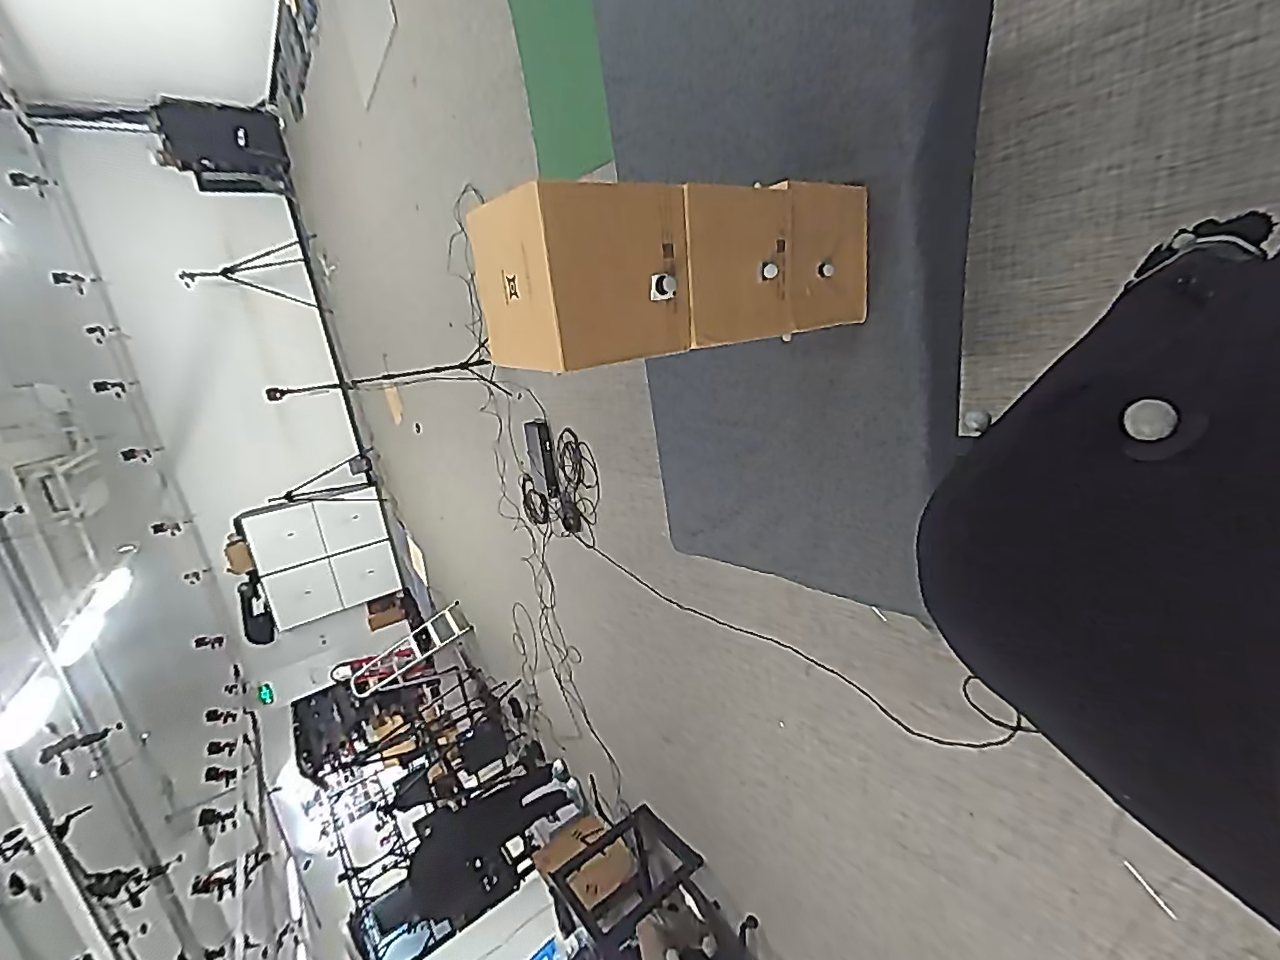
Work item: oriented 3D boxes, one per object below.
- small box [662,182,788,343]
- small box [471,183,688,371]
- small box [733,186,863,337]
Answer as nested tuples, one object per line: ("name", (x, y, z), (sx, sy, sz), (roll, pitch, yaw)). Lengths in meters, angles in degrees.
("small box", (0.066, -0.265, 0.689), (0.179, 0.176, 0.168), (17, 119, 54))
("small box", (-0.065, -0.221, 0.604), (0.179, 0.176, 0.168), (18, 121, 51))
("small box", (0.200, -0.307, 0.773), (0.168, 0.176, 0.179), (16, 118, 53))
